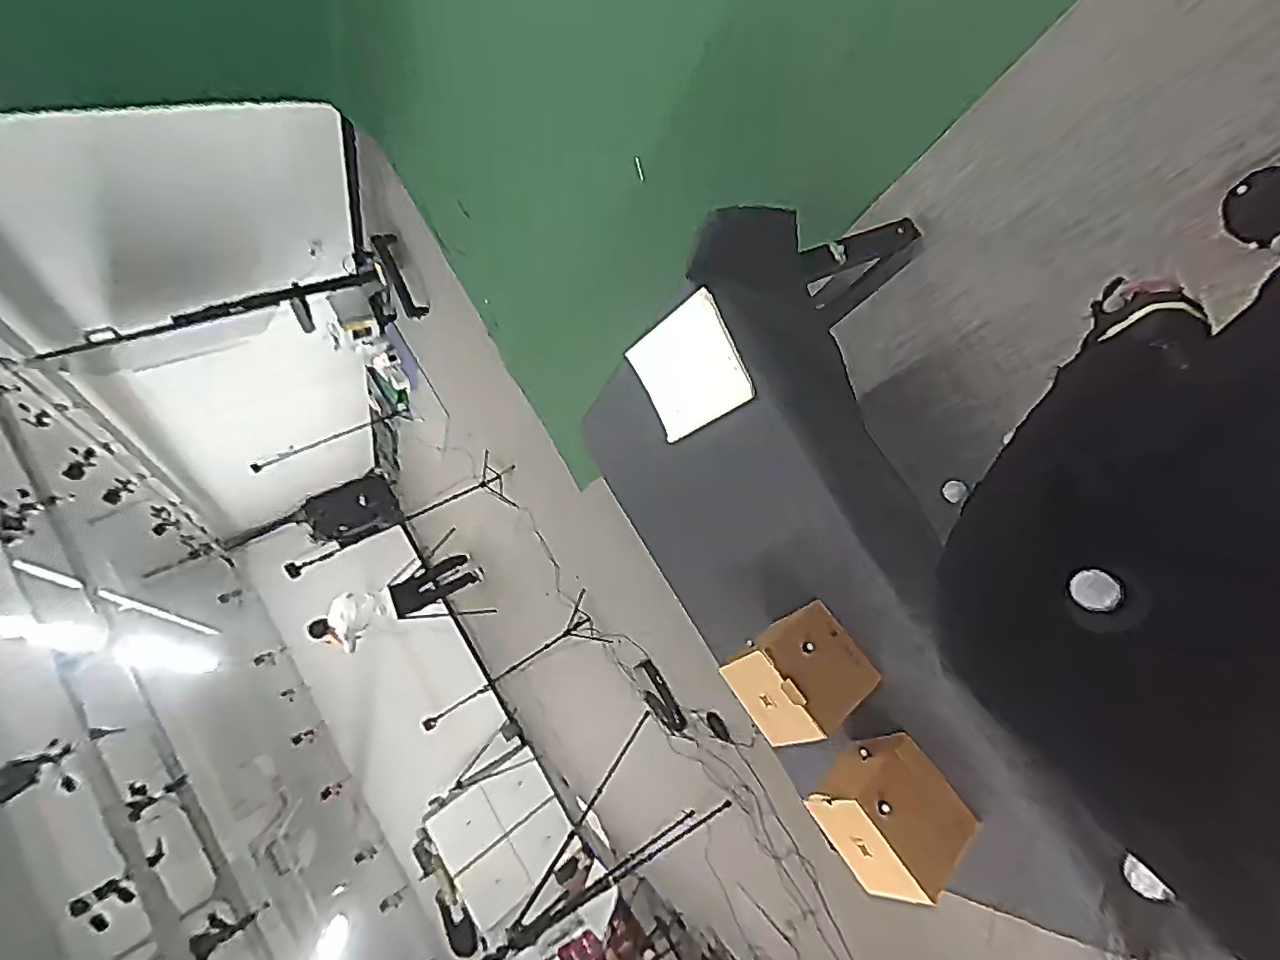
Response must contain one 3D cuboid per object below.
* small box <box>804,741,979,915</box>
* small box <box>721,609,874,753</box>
[{"bbox_3d":[0.427,0.583,0.924,0.179,0.176,0.168,53,148,18],"label":"small box"},{"bbox_3d":[0.284,0.356,0.968,0.168,0.176,0.179,55,150,16],"label":"small box"}]
